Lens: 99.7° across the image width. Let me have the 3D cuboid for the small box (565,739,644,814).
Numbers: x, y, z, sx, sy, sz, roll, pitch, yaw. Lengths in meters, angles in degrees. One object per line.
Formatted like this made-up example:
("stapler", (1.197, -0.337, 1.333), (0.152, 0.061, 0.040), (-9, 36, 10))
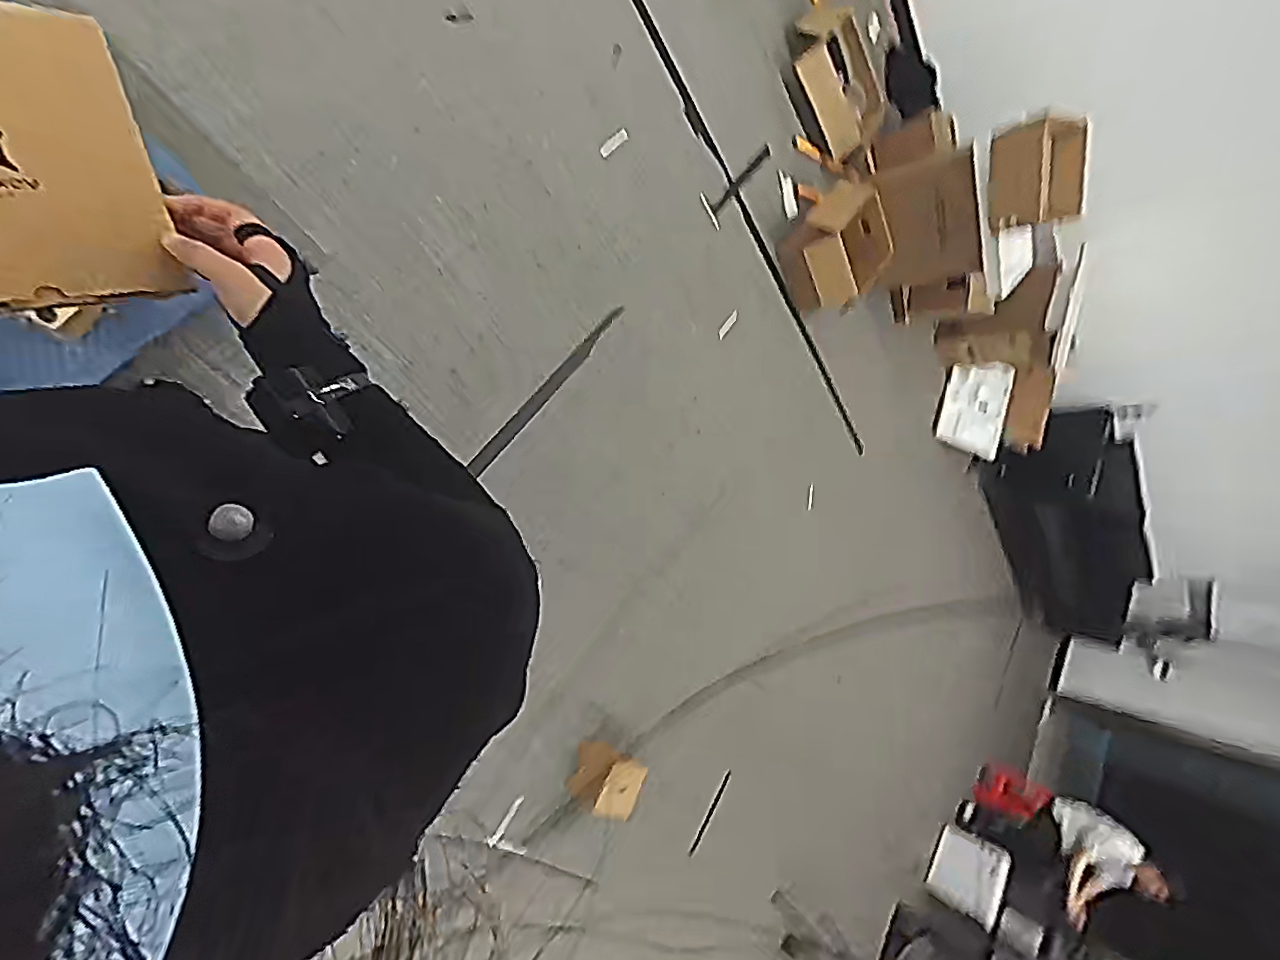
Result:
("small box", (-0.124, 1.027, 1.878), (0.179, 0.176, 0.168), (38, 68, -36))
